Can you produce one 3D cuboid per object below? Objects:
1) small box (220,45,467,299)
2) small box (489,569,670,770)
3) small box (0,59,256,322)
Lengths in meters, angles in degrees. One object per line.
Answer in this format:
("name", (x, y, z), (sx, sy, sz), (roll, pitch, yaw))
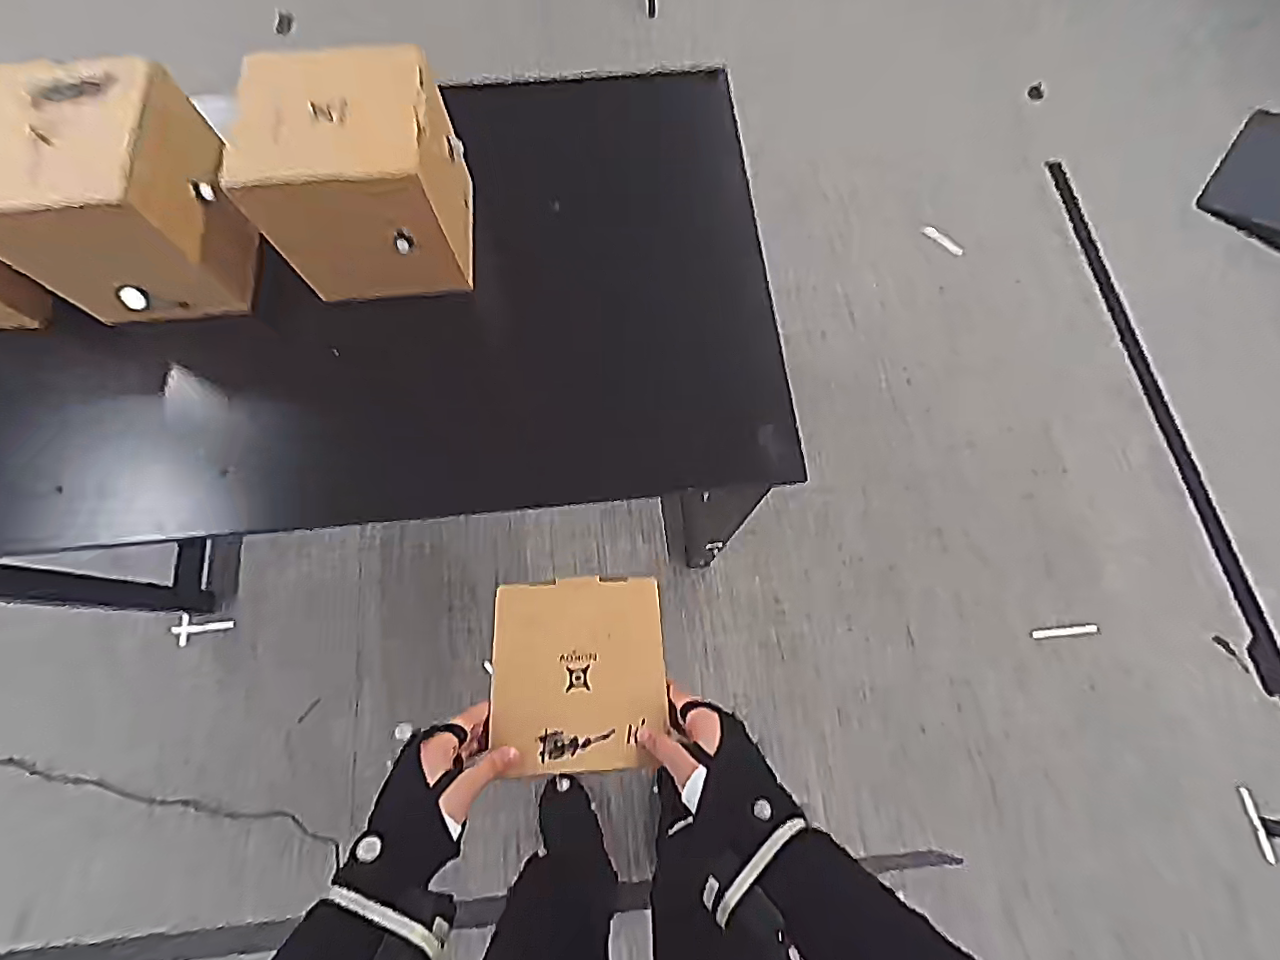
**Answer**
("small box", (-0.294, -0.317, 0.581), (0.179, 0.176, 0.168), (-6, 72, -1))
("small box", (-0.062, 0.212, 0.594), (0.168, 0.176, 0.179), (-3, 61, -3))
("small box", (-0.541, -0.292, 0.568), (0.168, 0.176, 0.179), (-7, 74, -3))
